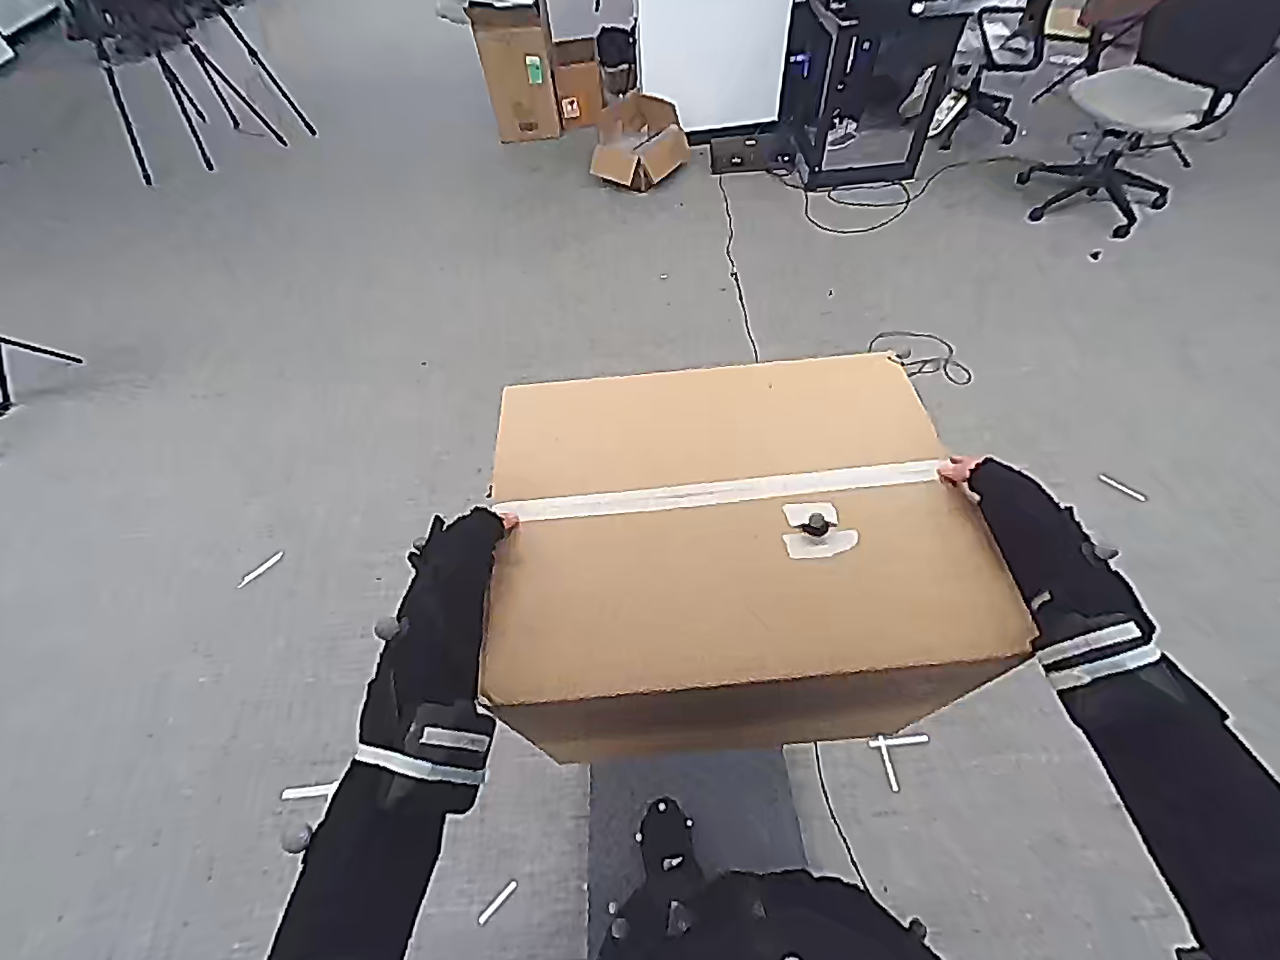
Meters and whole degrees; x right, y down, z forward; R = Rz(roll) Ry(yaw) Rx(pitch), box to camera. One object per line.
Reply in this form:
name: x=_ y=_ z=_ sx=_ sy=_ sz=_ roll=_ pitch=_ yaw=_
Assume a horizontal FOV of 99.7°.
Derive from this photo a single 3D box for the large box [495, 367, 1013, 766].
large box: x=0.079 y=0.109 z=0.609 sx=0.408 sy=0.320 sz=0.320 roll=-6 pitch=55 yaw=-1
